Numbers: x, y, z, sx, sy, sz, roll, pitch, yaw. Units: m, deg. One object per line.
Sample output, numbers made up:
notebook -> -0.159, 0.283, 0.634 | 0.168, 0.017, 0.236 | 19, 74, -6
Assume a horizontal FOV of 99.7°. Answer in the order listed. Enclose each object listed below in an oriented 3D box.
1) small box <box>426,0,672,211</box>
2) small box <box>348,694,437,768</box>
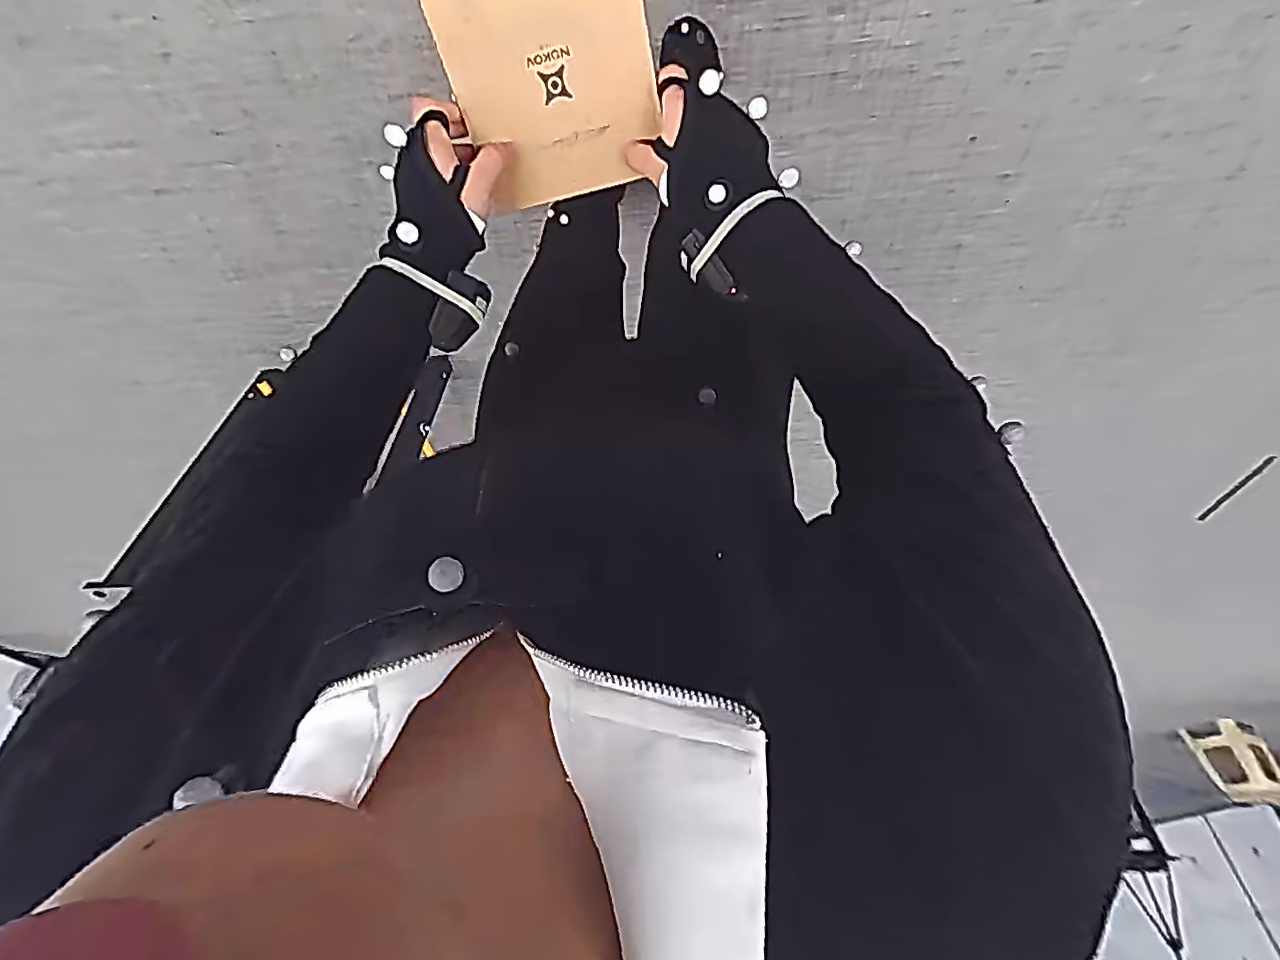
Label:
small box -> -0.071, -0.384, 0.504 | 0.168, 0.176, 0.179 | -11, 132, 9
small box -> -0.720, 0.742, 1.601 | 0.179, 0.176, 0.168 | -1, 140, 3
